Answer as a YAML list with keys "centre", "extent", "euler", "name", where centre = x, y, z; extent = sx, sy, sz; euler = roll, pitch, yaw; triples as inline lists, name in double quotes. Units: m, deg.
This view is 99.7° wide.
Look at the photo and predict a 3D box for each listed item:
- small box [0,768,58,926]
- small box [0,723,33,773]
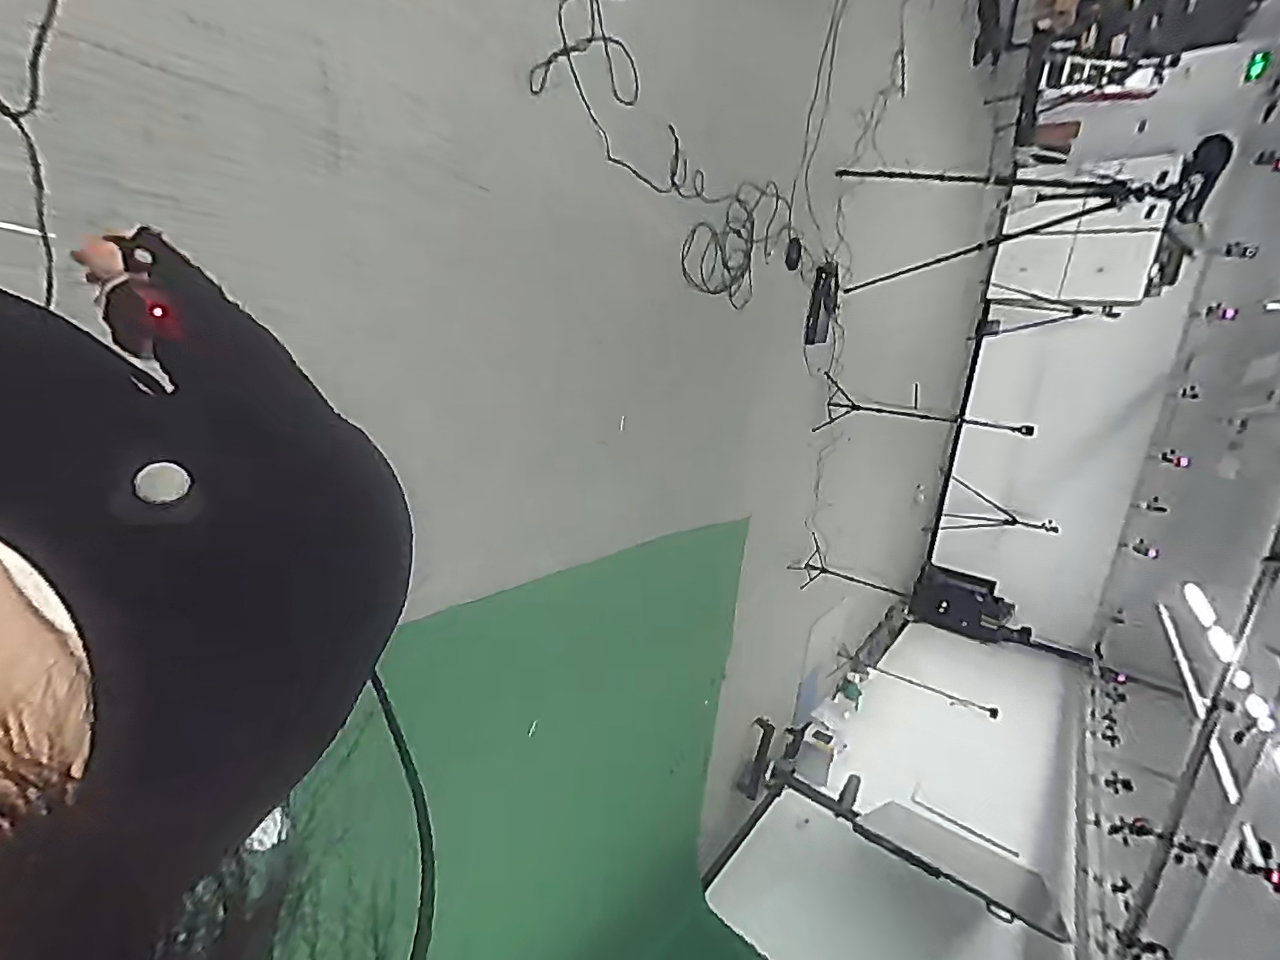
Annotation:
- centre: [-1.058, 0.594, 0.855]
  extent: [0.168, 0.176, 0.179]
  euler: [-8, 109, -50]
  name: "small box"
- centre: [-1.190, 0.571, 0.951]
  extent: [0.168, 0.176, 0.179]
  euler: [-10, 110, -51]
  name: "small box"
